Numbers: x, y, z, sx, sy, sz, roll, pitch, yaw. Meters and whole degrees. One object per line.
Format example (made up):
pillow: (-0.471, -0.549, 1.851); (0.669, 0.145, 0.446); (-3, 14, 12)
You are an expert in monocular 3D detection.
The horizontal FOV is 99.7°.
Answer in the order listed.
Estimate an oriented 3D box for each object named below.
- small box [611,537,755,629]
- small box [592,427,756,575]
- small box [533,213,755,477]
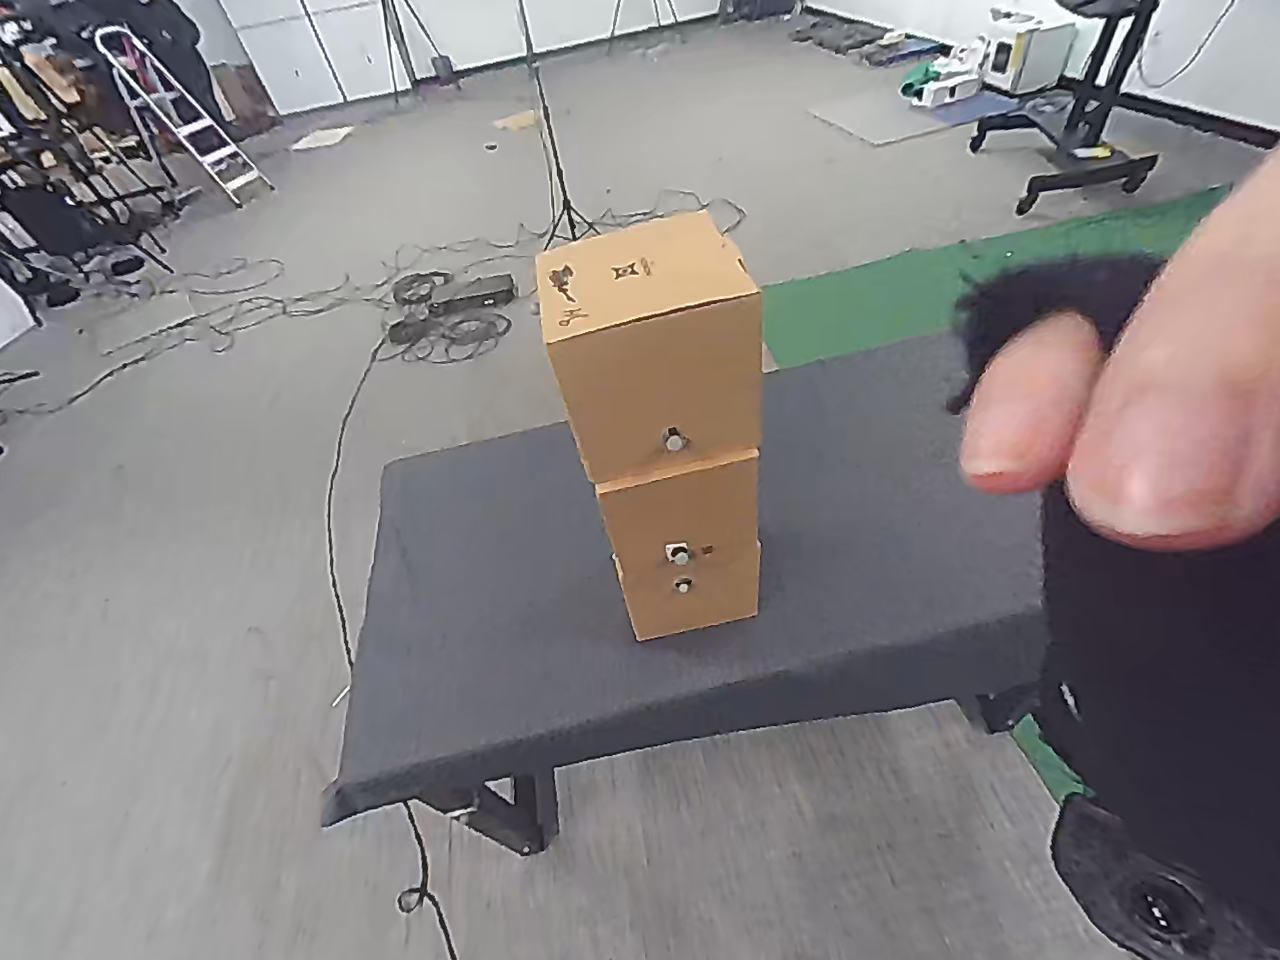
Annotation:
small box: (0.057, 0.091, 0.764); (0.179, 0.176, 0.168); (-12, 47, 0)
small box: (0.033, -0.015, 0.645); (0.168, 0.176, 0.179); (-15, 48, 1)
small box: (0.005, -0.127, 0.528); (0.179, 0.176, 0.168); (-13, 47, 1)
